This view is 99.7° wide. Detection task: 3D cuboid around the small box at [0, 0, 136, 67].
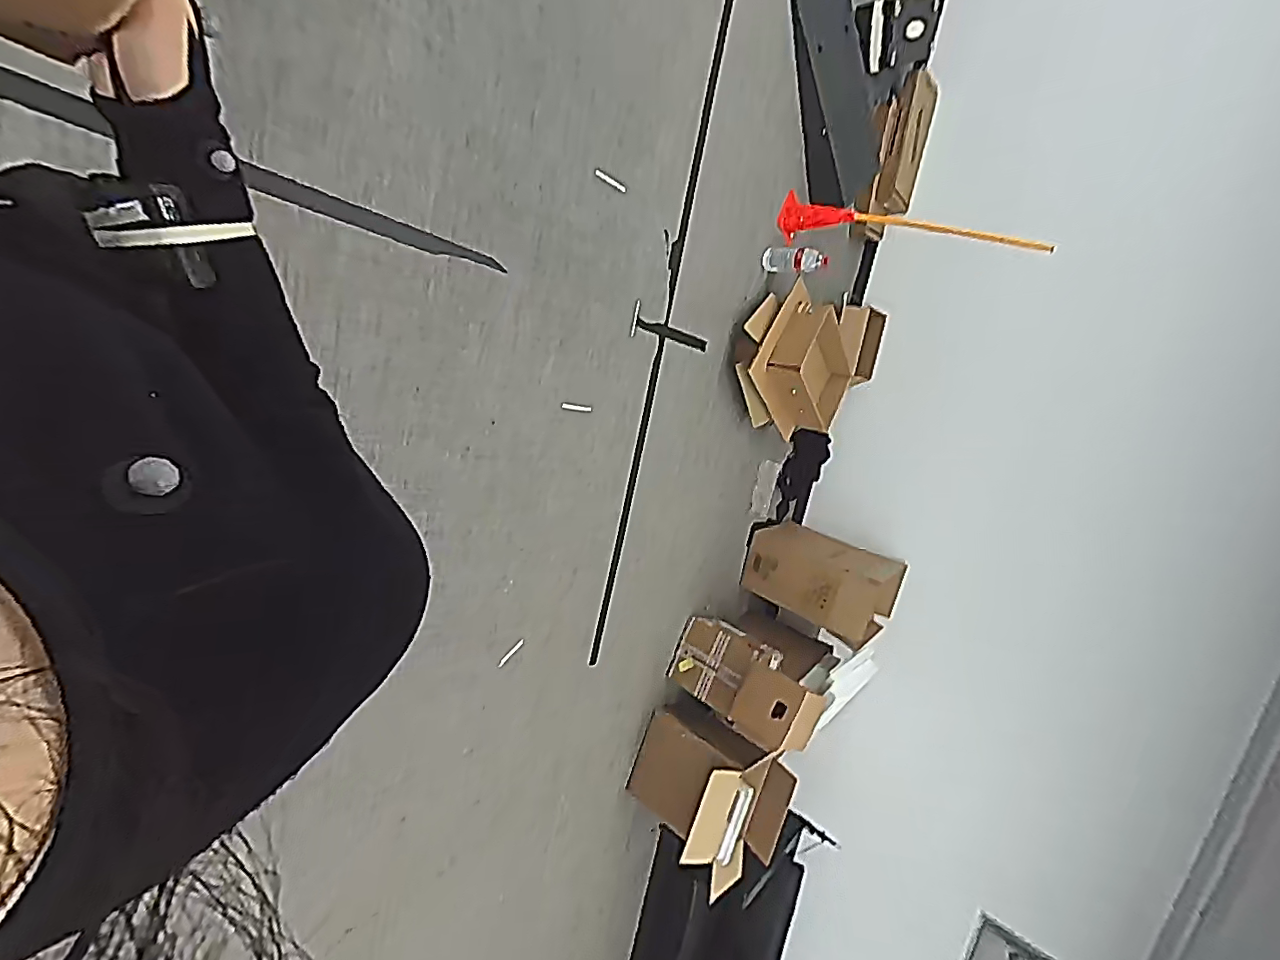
[{"bbox_3d":[-0.310,-0.314,0.213,0.168,0.176,0.179,-2,100,-56],"label":"small box"}]
